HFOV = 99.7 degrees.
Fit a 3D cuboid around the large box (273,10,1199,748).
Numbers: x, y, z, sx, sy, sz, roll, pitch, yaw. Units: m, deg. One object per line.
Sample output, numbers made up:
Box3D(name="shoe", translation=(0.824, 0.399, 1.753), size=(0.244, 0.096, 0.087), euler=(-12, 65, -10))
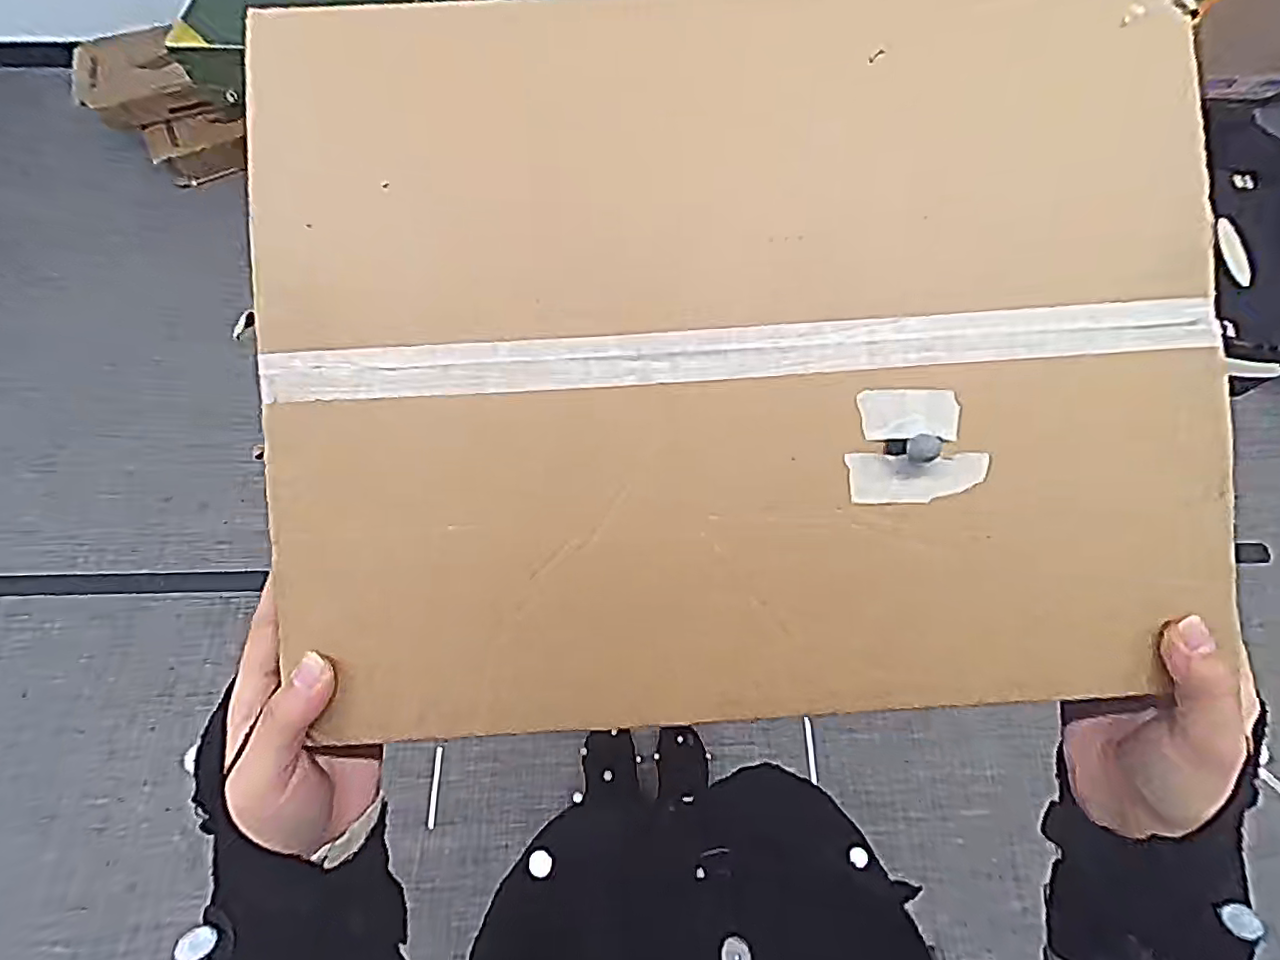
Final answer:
Box3D(name="large box", translation=(0.040, -0.047, 0.390), size=(0.408, 0.320, 0.320), euler=(-4, 90, -2))
